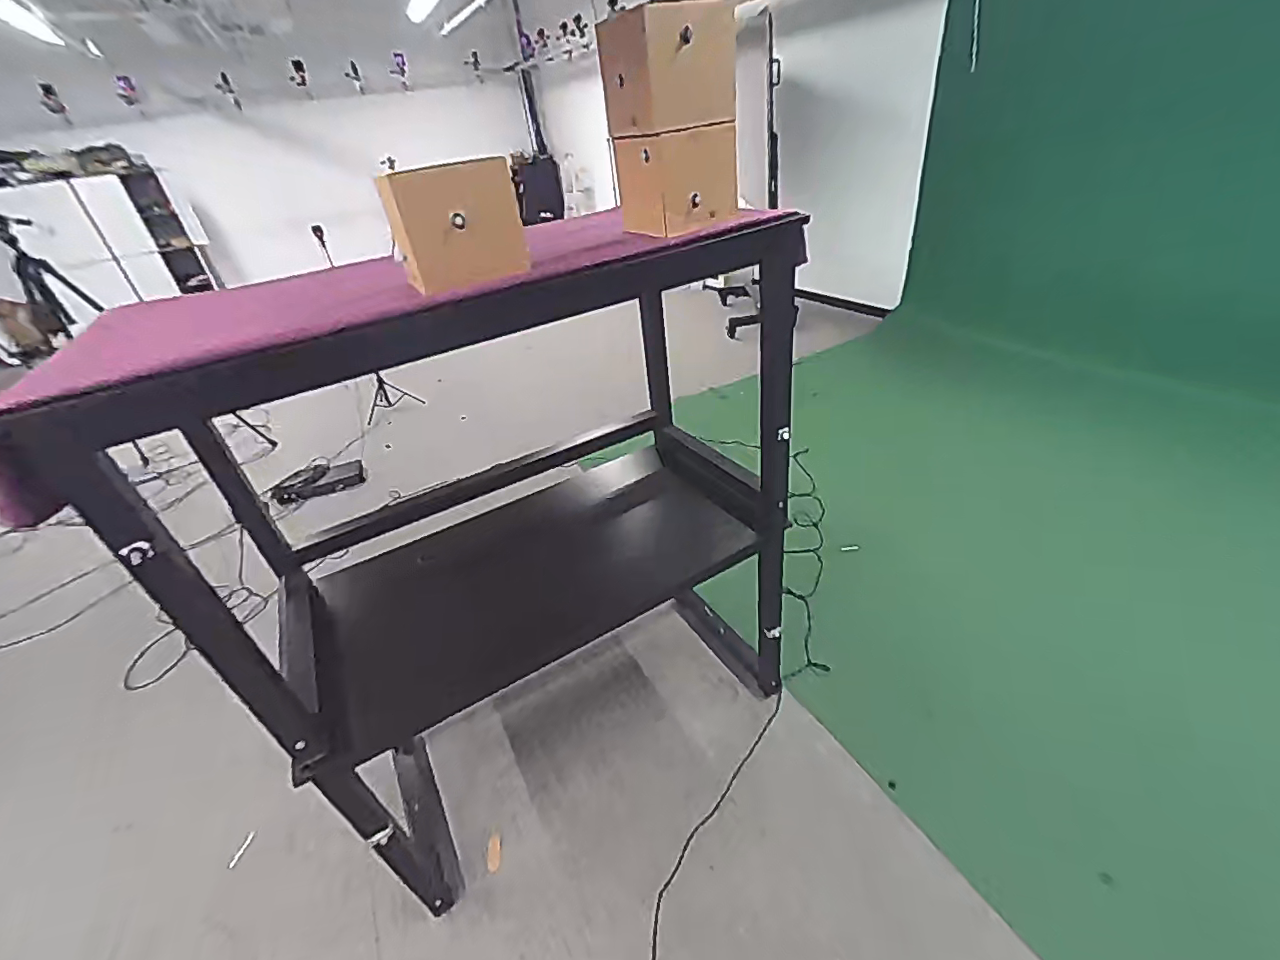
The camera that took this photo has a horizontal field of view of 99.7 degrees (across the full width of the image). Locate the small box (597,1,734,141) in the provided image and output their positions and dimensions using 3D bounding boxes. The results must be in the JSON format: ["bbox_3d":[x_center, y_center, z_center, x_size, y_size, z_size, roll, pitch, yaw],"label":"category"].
[{"bbox_3d":[0.049,-0.695,0.936,0.179,0.176,0.168,-23,37,-20],"label":"small box"}]

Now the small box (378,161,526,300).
[{"bbox_3d":[-0.296,-0.405,0.873,0.179,0.176,0.168,-23,35,-19],"label":"small box"}]

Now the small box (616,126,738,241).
[{"bbox_3d":[0.071,-0.564,1.035,0.168,0.176,0.179,-23,37,-20],"label":"small box"}]
